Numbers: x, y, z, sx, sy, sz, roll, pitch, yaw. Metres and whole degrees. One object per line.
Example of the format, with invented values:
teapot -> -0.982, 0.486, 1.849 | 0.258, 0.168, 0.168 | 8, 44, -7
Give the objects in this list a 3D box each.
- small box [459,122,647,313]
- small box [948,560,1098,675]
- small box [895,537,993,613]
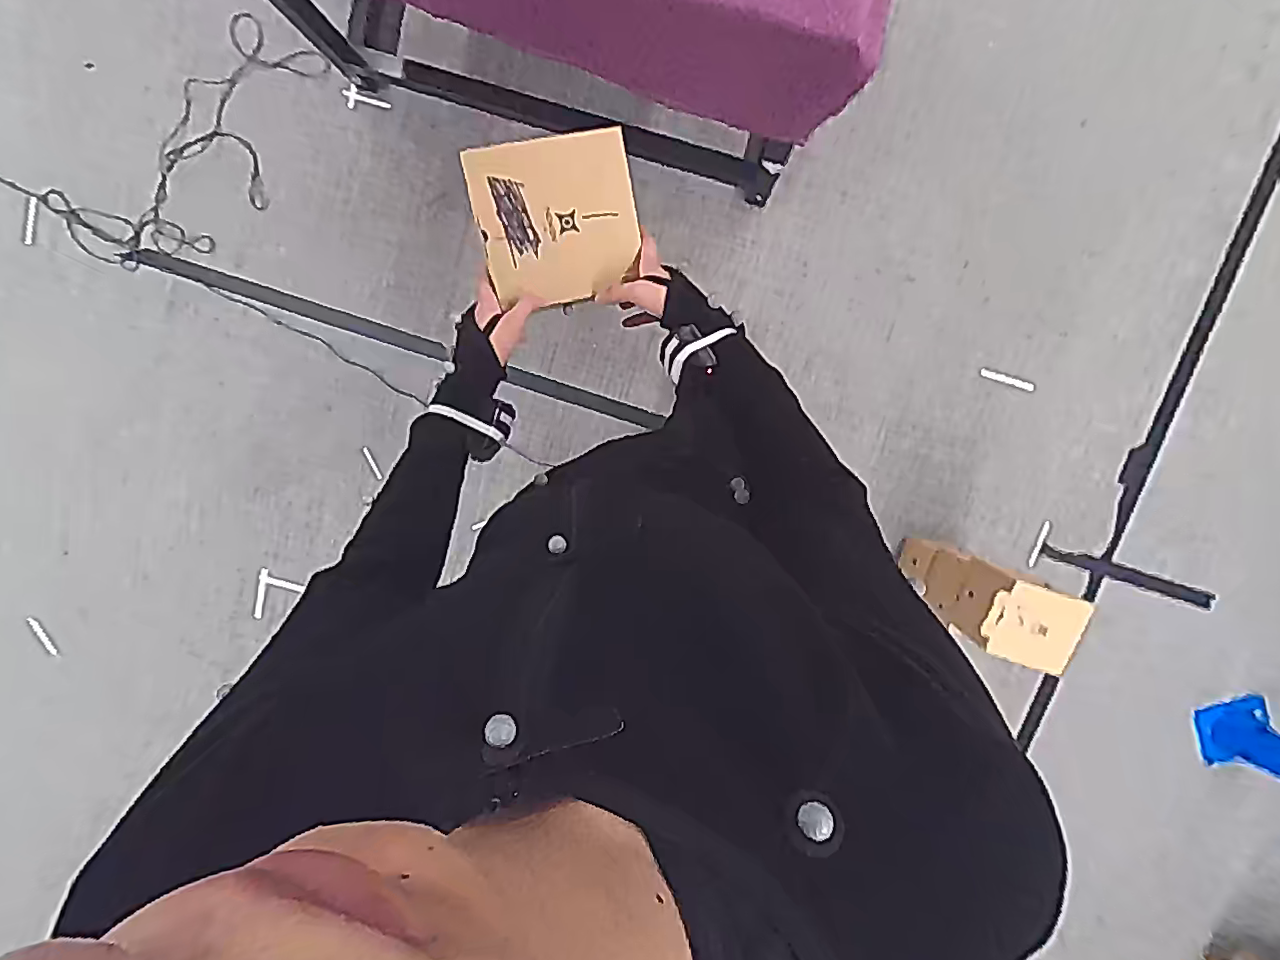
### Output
small box -> -0.099, -0.306, 0.668 | 0.179, 0.176, 0.168 | -14, 107, -3
small box -> 0.831, 0.293, 1.193 | 0.179, 0.176, 0.168 | 19, 100, 1
small box -> 0.851, 0.269, 1.523 | 0.179, 0.176, 0.168 | 14, 99, 1
